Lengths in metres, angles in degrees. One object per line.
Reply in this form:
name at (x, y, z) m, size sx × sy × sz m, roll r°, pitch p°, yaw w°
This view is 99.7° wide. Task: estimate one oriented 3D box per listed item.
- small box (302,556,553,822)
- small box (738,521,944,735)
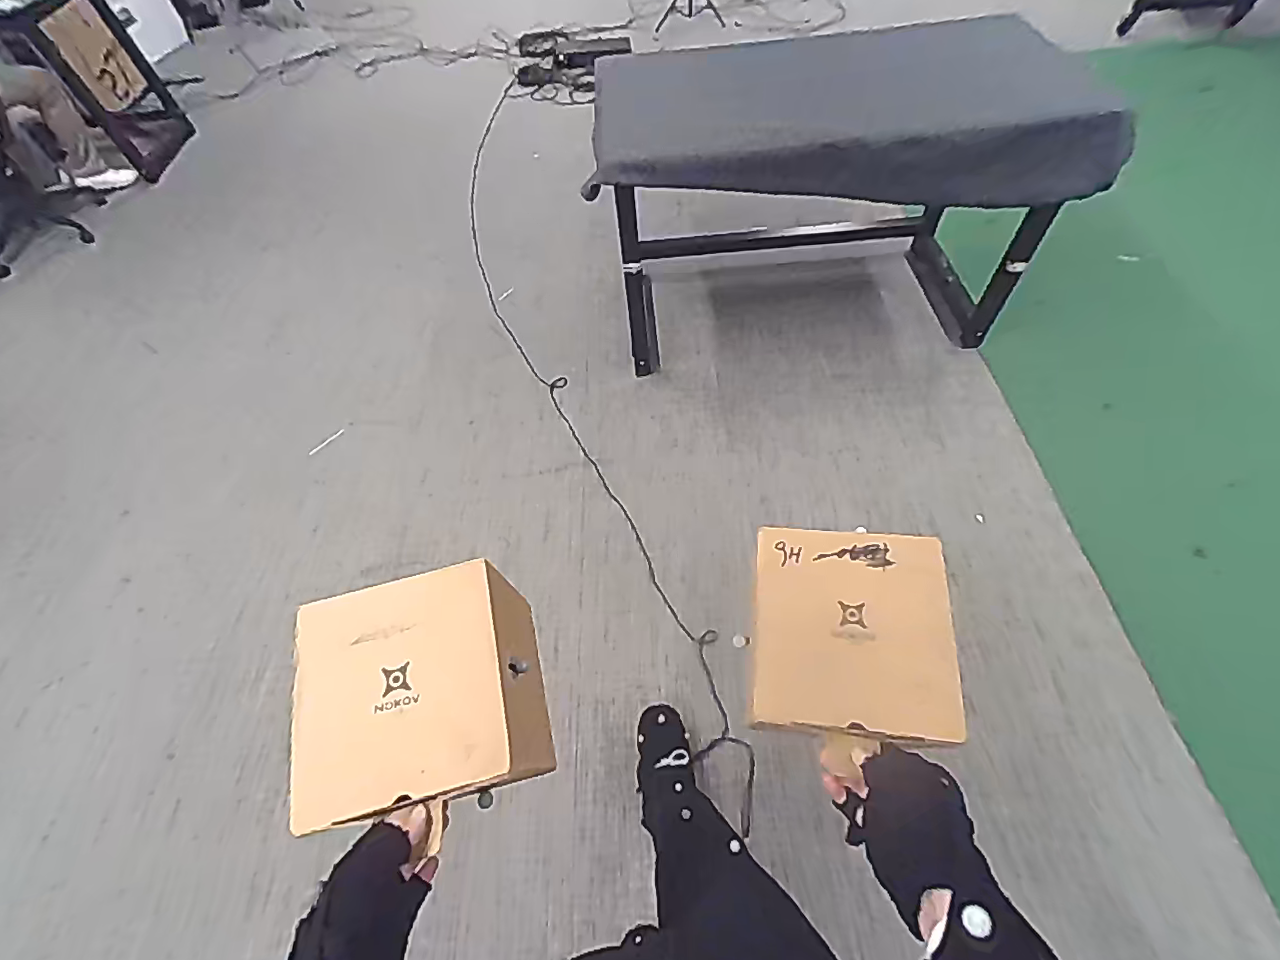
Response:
small box at (-0.190, 0.197, 0.517) m, size 0.168 × 0.176 × 0.179 m, roll -15°, pitch 63°, yaw -4°
small box at (0.188, 0.156, 0.555) m, size 0.168 × 0.176 × 0.179 m, roll 3°, pitch 66°, yaw 10°
